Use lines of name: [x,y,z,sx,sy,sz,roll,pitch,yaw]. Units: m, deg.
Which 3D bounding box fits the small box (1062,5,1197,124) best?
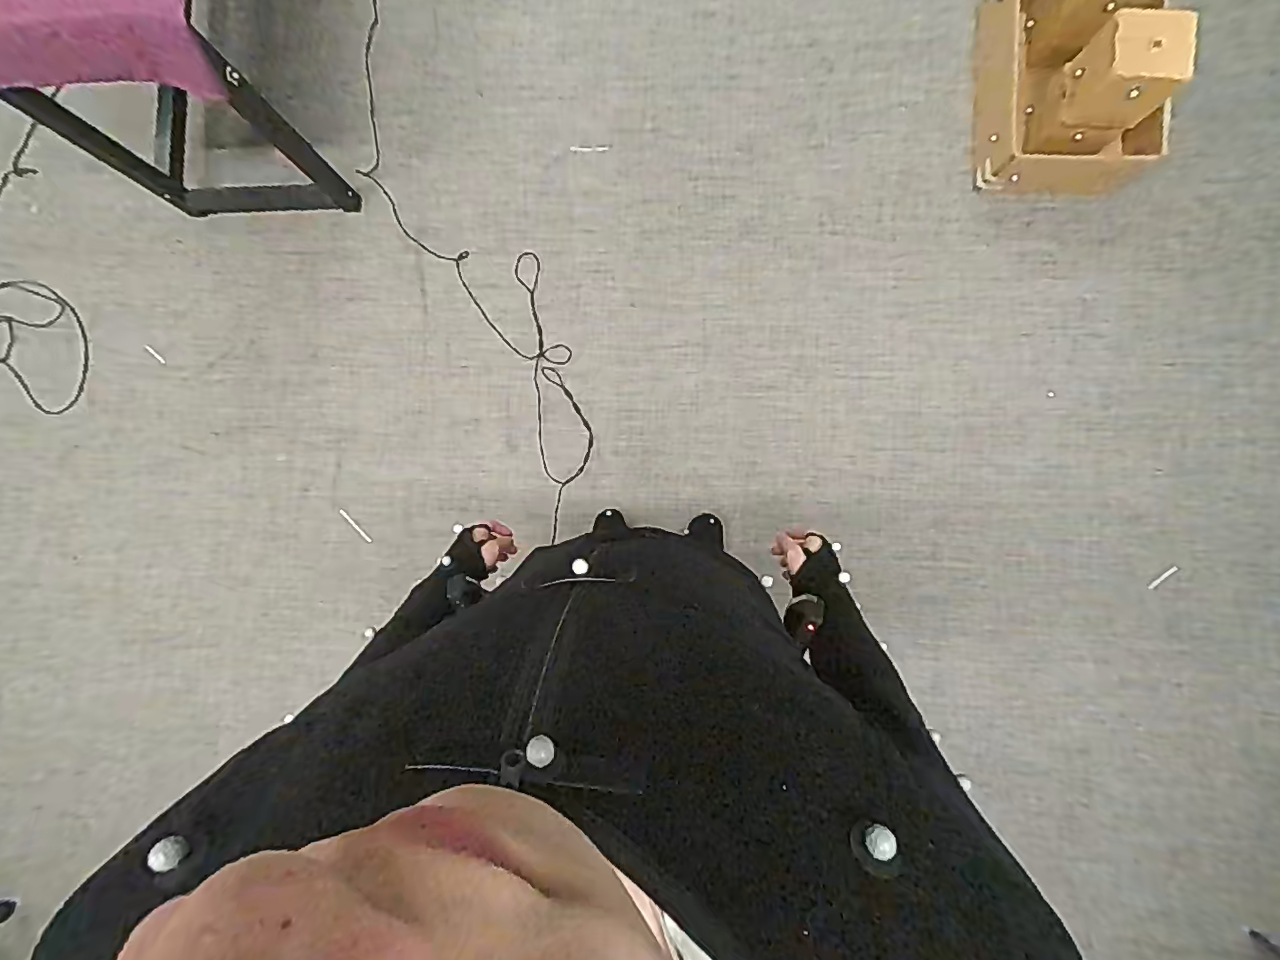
small box: [1.202,-1.017,1.337,0.179,0.176,0.168,7,88,4]
